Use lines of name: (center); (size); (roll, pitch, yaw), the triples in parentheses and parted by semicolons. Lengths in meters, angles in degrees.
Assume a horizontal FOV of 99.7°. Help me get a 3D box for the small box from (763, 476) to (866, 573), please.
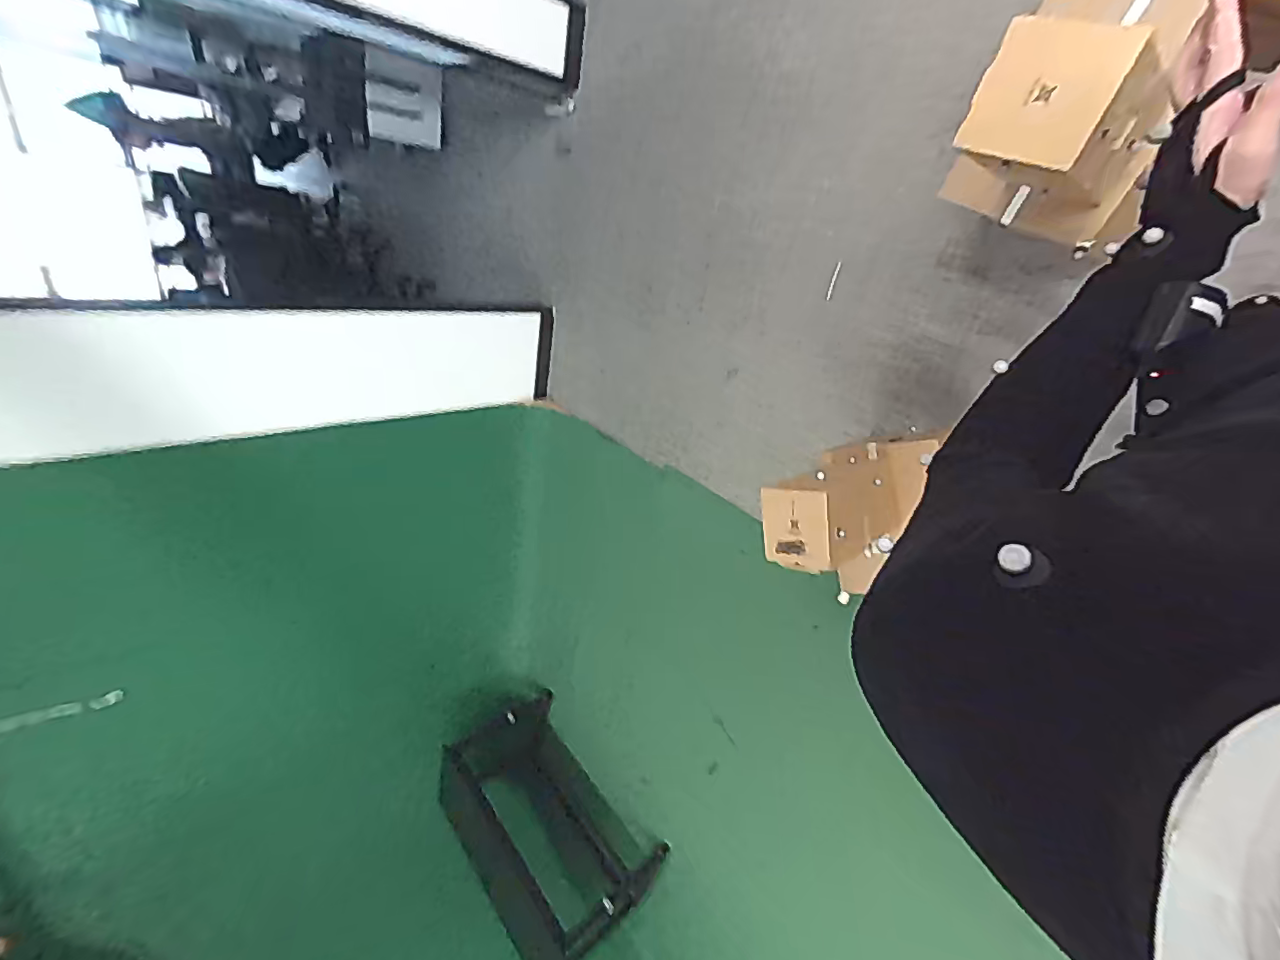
small box: (0.406, 0.095, 1.245); (0.168, 0.176, 0.179); (3, 103, 47)

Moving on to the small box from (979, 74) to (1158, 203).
small box: (0.737, -0.591, 0.929); (0.179, 0.176, 0.168); (39, 127, 32)

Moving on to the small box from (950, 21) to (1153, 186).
small box: (0.621, -0.559, 0.818); (0.179, 0.176, 0.168); (39, 128, 33)

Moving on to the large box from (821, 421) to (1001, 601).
large box: (0.748, 0.078, 1.486); (0.320, 0.320, 0.408); (-7, 97, 49)
